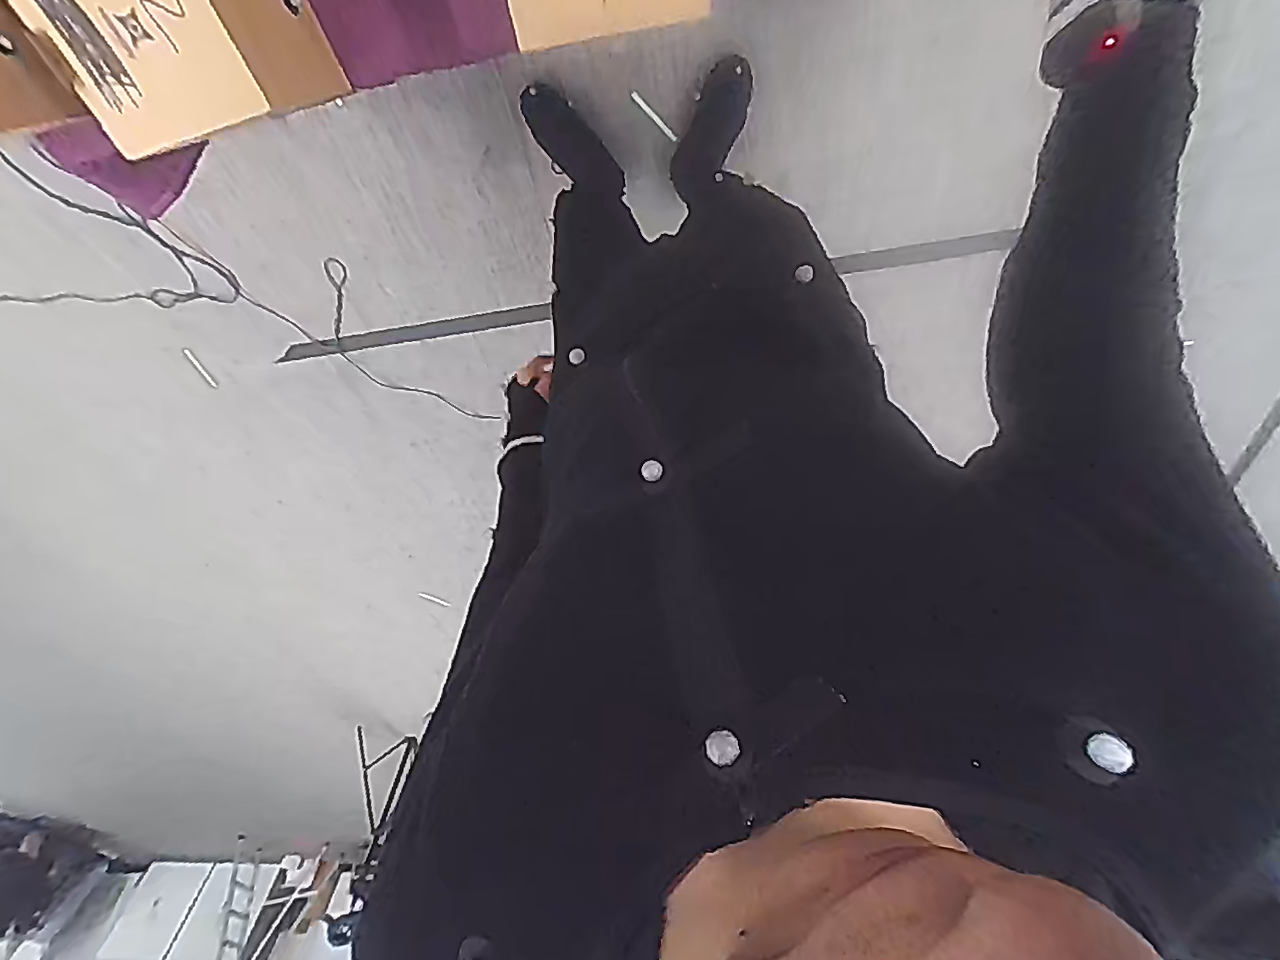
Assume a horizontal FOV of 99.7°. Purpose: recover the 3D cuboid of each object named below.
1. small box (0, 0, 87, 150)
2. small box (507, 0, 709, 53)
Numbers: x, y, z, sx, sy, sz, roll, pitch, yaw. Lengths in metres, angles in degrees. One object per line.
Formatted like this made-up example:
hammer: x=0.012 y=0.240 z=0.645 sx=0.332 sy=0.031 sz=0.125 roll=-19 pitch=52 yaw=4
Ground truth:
small box: x=-0.759 y=-0.434 z=0.557 sx=0.179 sy=0.176 sz=0.168 roll=-8 pitch=130 yaw=10
small box: x=-0.031 y=-0.487 z=0.457 sx=0.168 sy=0.176 sz=0.179 roll=-4 pitch=132 yaw=8
